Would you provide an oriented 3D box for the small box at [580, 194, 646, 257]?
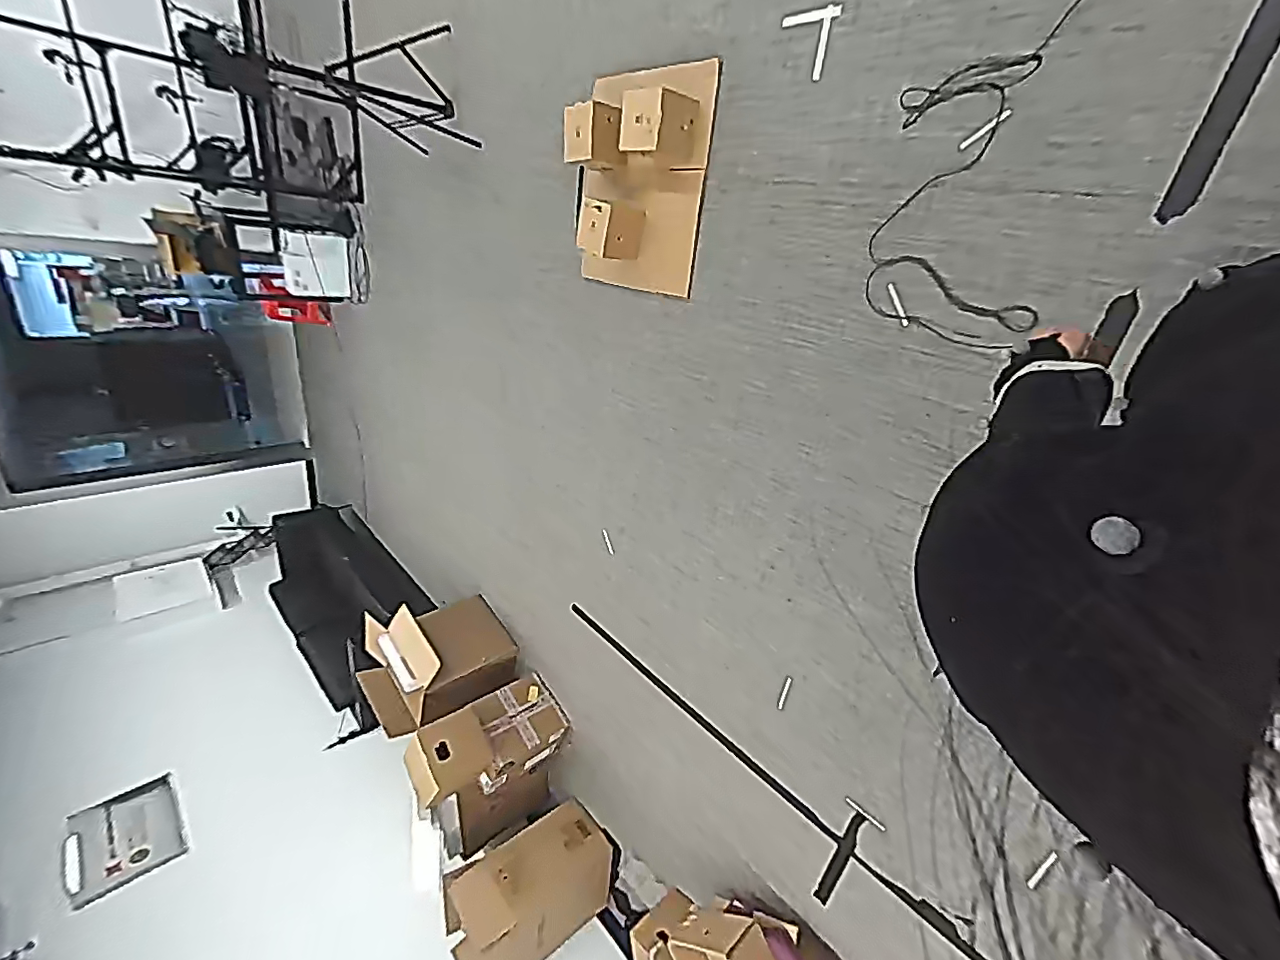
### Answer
[{"bbox_3d":[-0.097,-0.924,1.974,0.168,0.176,0.179,38,129,33],"label":"small box"}]

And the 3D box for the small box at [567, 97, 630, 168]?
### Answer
[{"bbox_3d":[-0.143,-1.233,1.932,0.168,0.176,0.179,24,119,42],"label":"small box"}]

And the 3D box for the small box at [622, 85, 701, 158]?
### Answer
[{"bbox_3d":[0.069,-1.139,1.728,0.179,0.176,0.168,28,123,38],"label":"small box"}]
